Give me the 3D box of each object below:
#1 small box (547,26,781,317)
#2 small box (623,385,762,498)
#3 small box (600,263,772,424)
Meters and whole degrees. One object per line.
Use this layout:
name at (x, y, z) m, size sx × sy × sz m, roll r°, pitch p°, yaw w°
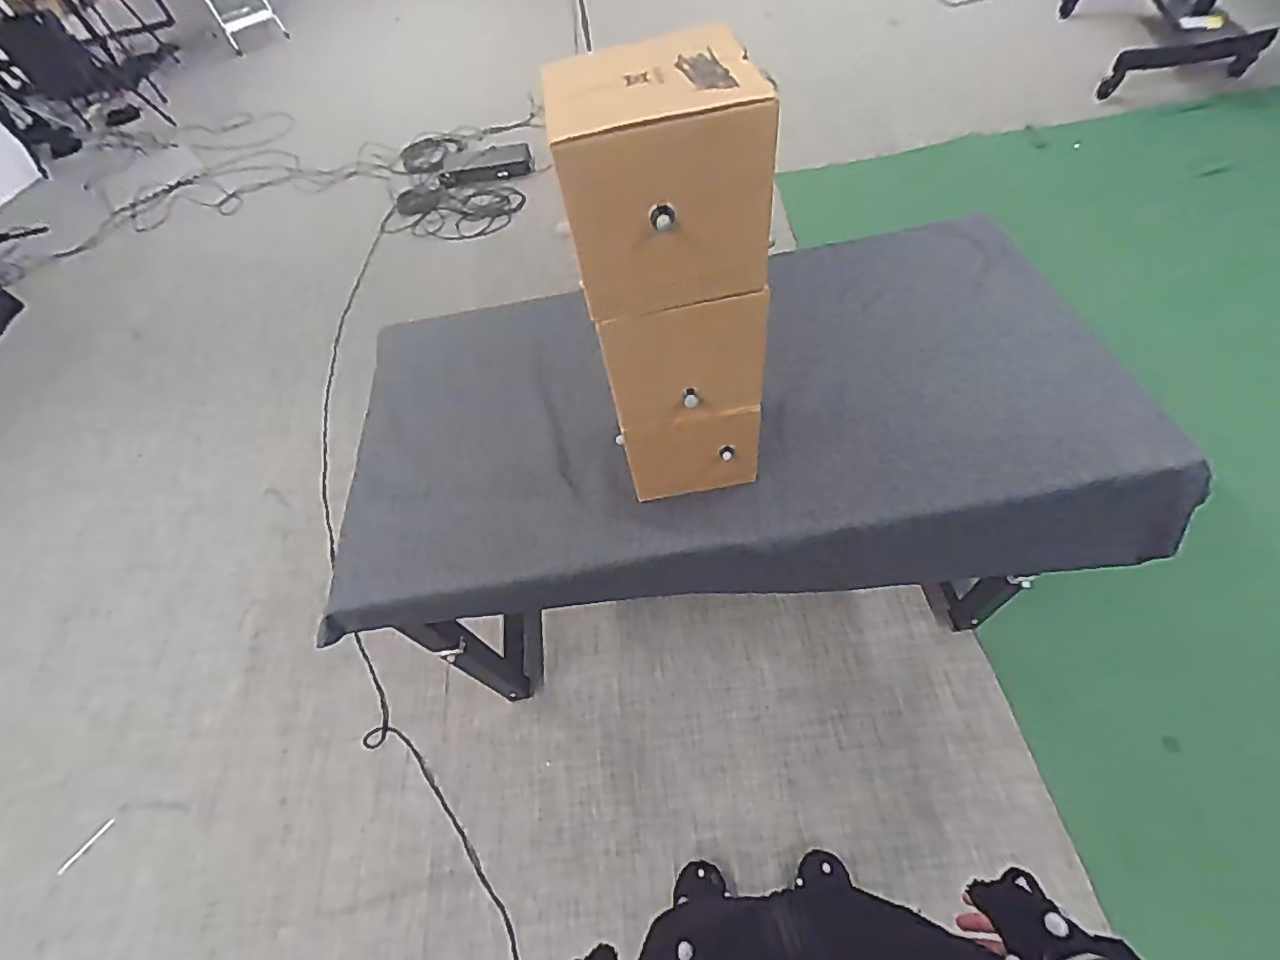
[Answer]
small box at (0.020, -0.283, 0.512) m, size 0.179 × 0.176 × 0.168 m, roll -11°, pitch 55°, yaw 2°
small box at (0.067, -0.095, 0.778) m, size 0.179 × 0.176 × 0.168 m, roll -11°, pitch 54°, yaw 3°
small box at (0.044, -0.190, 0.646) m, size 0.179 × 0.176 × 0.168 m, roll -11°, pitch 55°, yaw 1°
